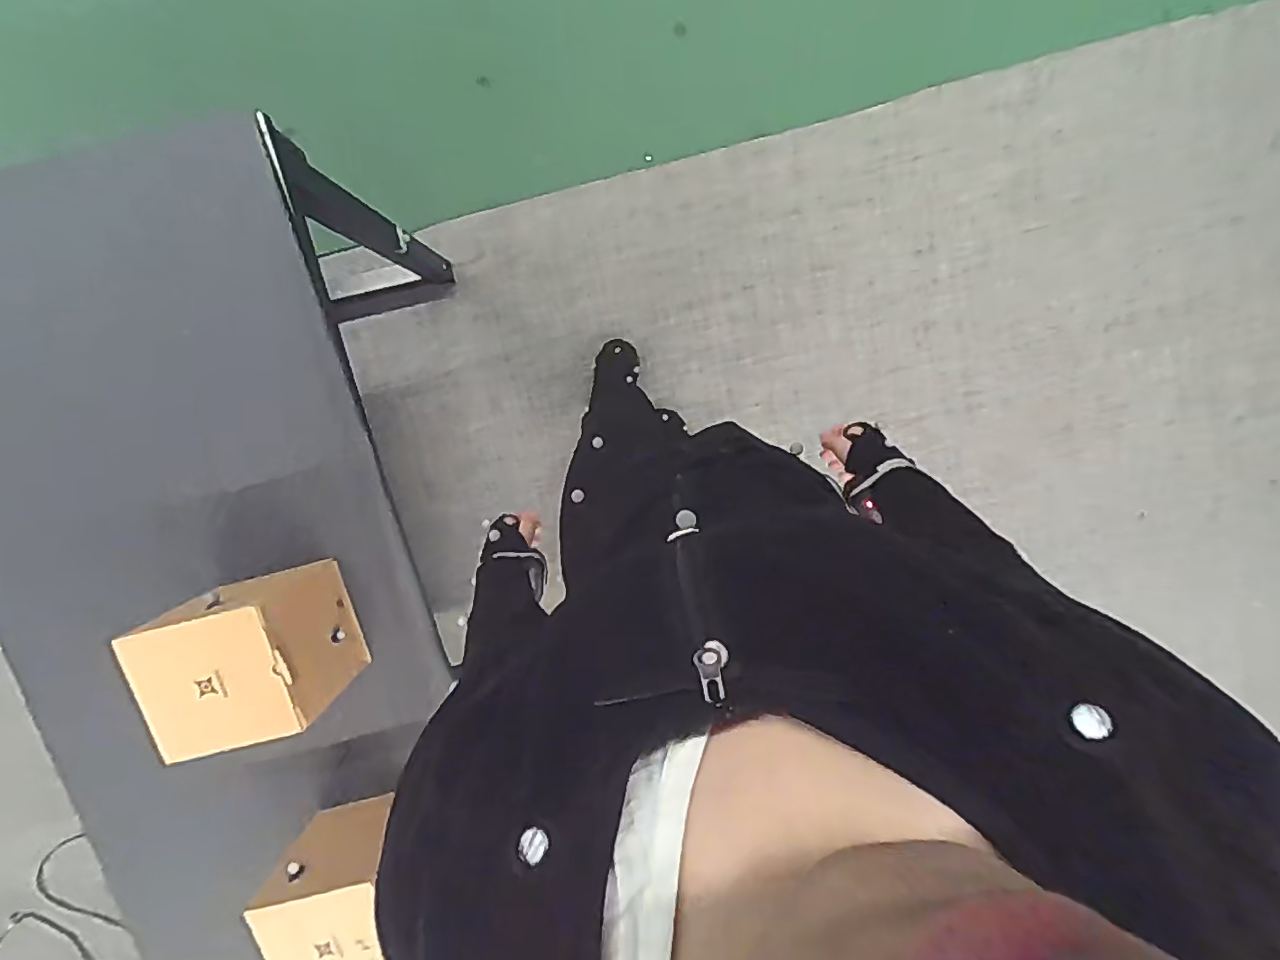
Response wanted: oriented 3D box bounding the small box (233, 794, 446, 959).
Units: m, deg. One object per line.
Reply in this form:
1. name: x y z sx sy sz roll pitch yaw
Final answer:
1. small box: -0.399 0.579 0.750 0.179 0.176 0.168 -15 100 1

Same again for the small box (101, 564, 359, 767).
1. small box: -0.502 0.224 0.692 0.179 0.176 0.168 -14 99 0
